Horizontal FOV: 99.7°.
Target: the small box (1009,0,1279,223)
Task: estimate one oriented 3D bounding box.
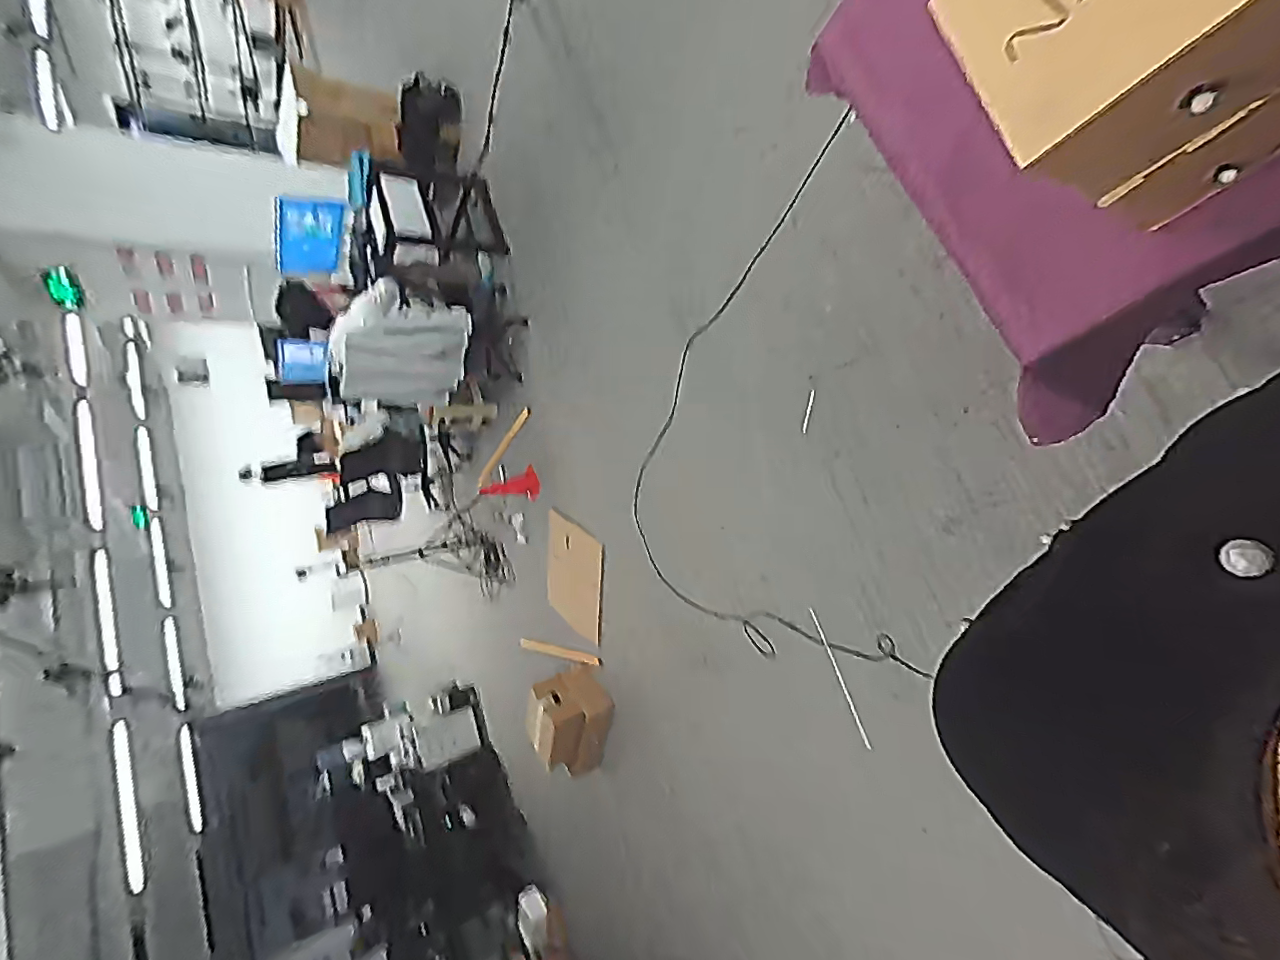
[{"bbox_3d":[0.491,-0.365,0.495,0.168,0.176,0.179,-39,68,50],"label":"small box"}]
